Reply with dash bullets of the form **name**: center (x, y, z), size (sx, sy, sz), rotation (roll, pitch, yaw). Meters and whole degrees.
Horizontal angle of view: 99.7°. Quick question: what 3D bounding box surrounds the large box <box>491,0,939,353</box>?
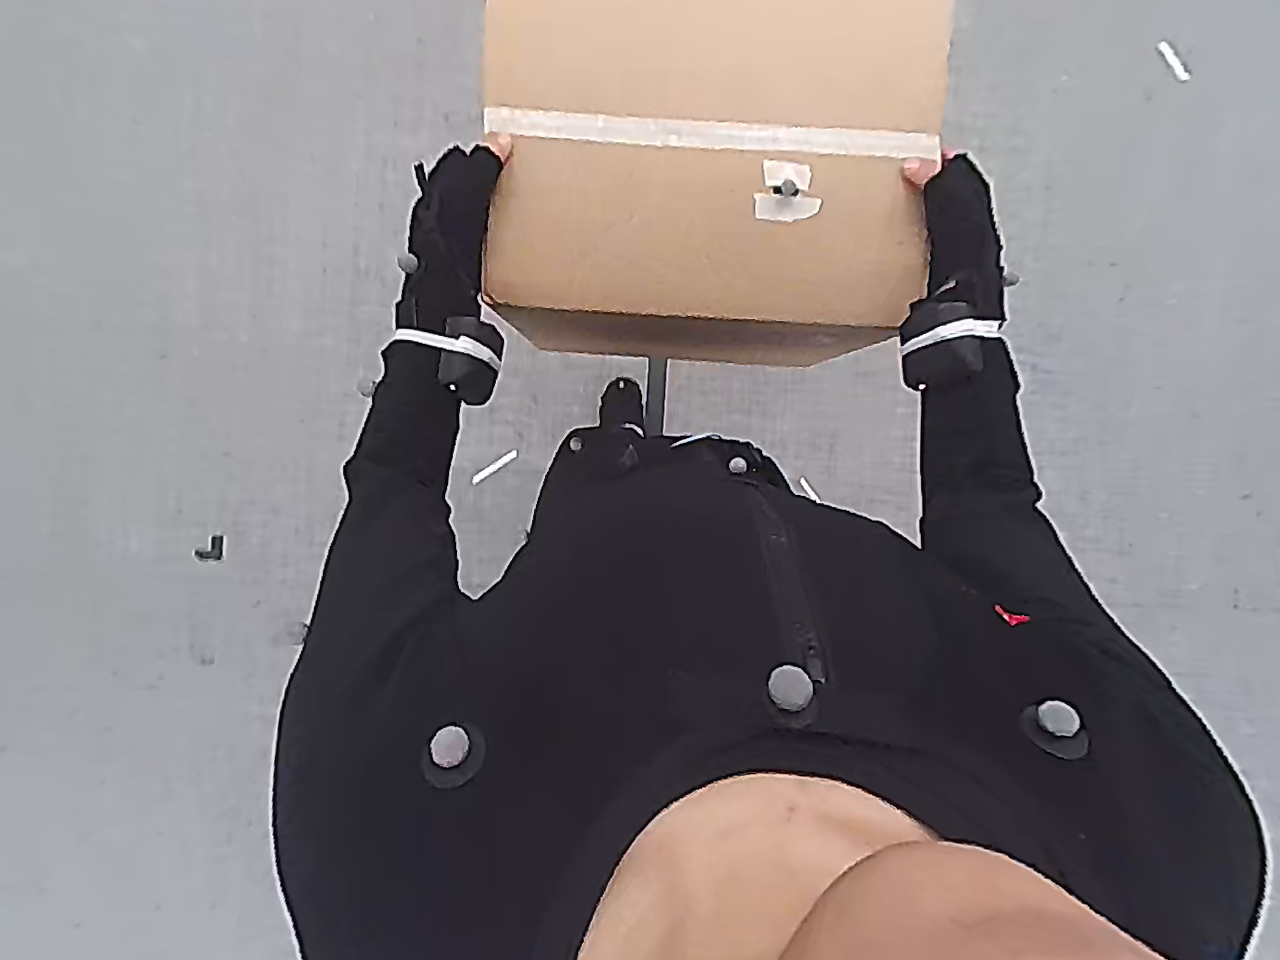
- **large box**: center (0.059, -0.332, 0.639), size (0.408, 0.320, 0.320), rotation (3, 97, -3)
